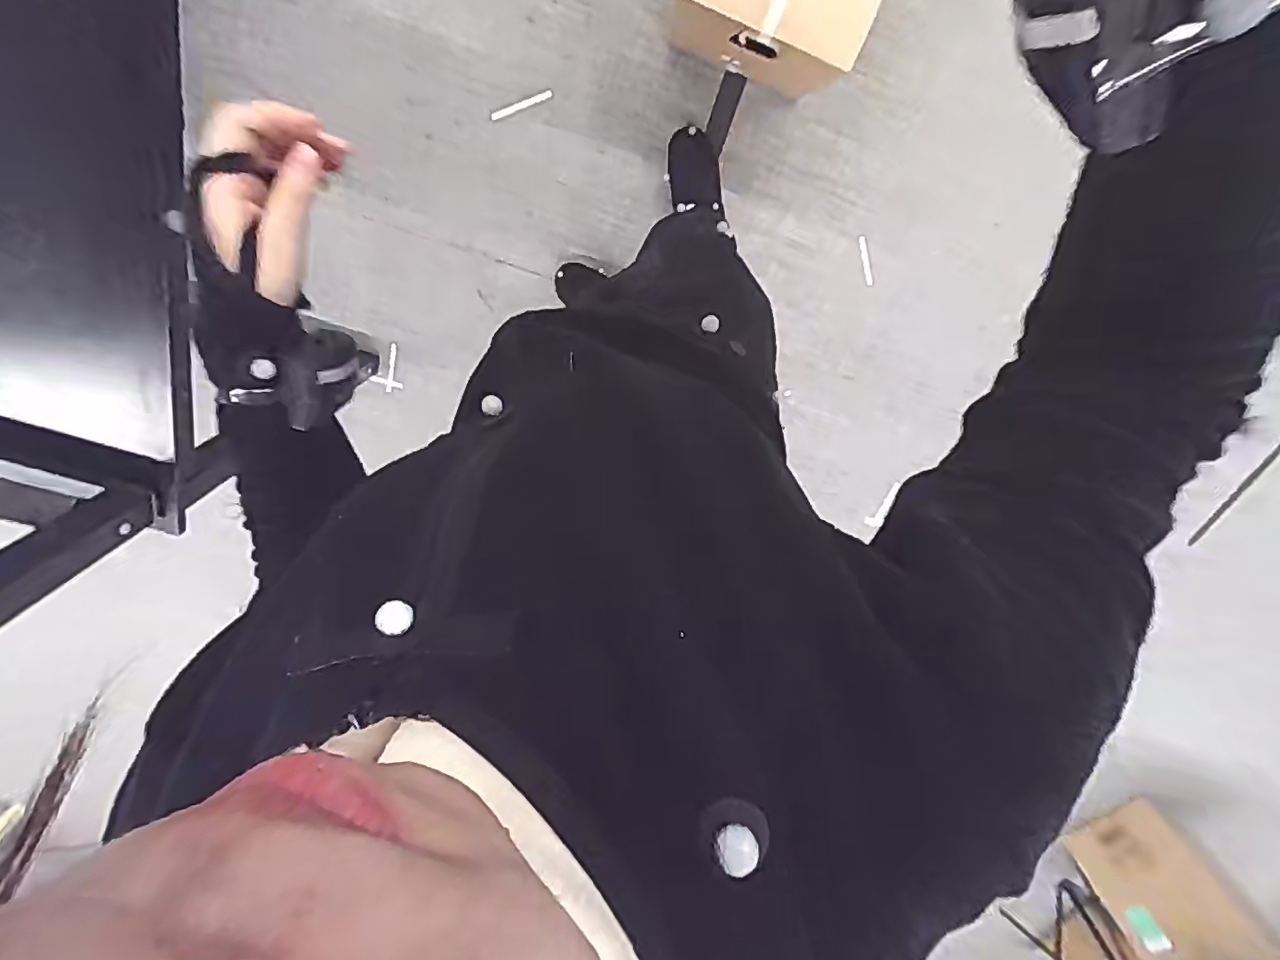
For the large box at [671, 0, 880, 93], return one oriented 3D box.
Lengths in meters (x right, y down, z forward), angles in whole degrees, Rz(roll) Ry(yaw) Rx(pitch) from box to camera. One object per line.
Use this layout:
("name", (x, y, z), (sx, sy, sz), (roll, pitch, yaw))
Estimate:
("large box", (0.263, -0.955, 0.905), (0.320, 0.320, 0.408), (17, 116, -10))
